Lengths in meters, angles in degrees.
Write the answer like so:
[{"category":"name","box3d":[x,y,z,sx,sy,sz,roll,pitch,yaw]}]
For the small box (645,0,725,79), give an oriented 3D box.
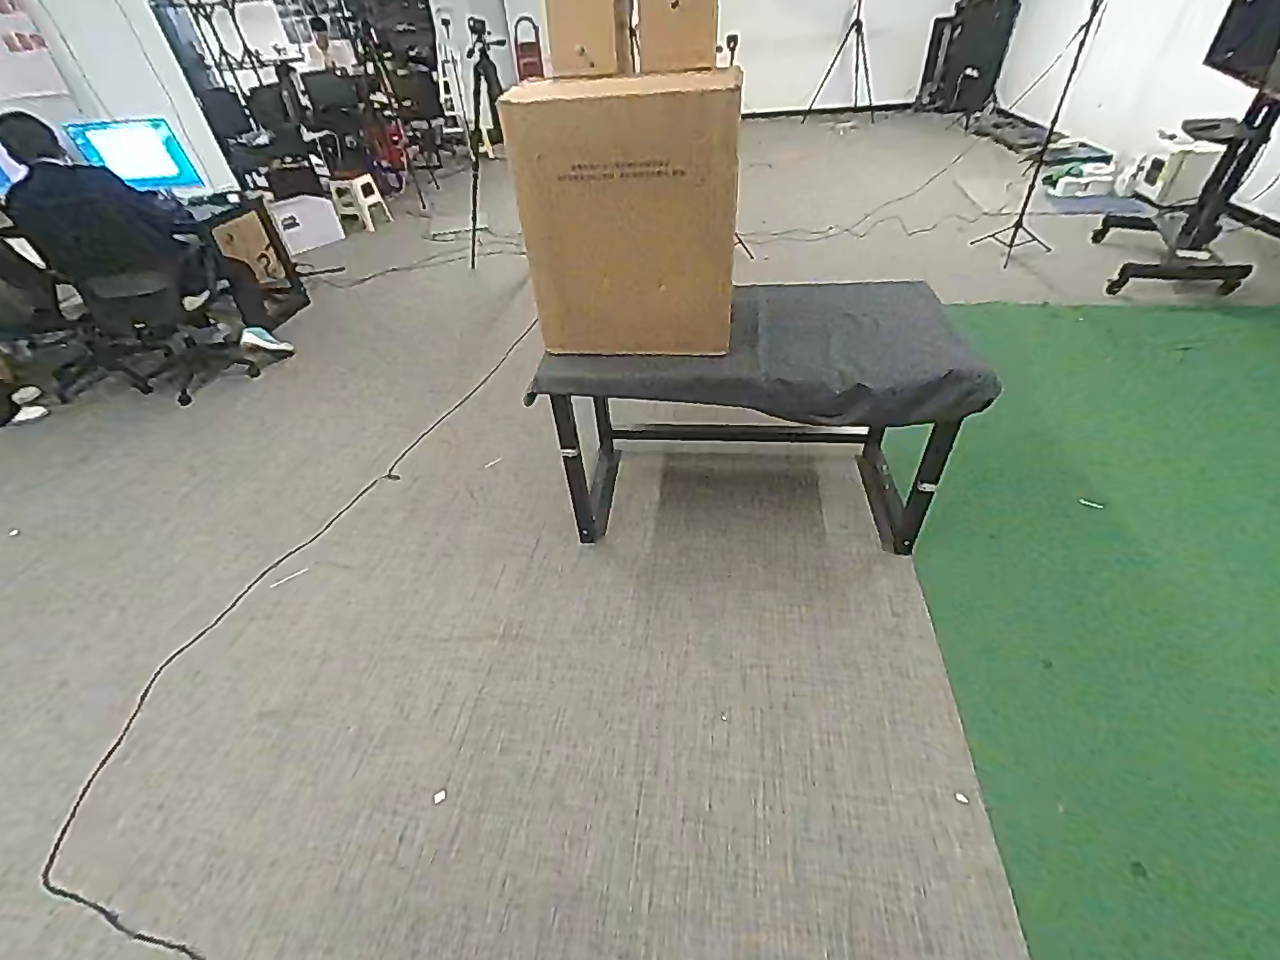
[{"category":"small box","box3d":[0.110,-1.068,1.292,0.179,0.176,0.168,4,39,8]}]
